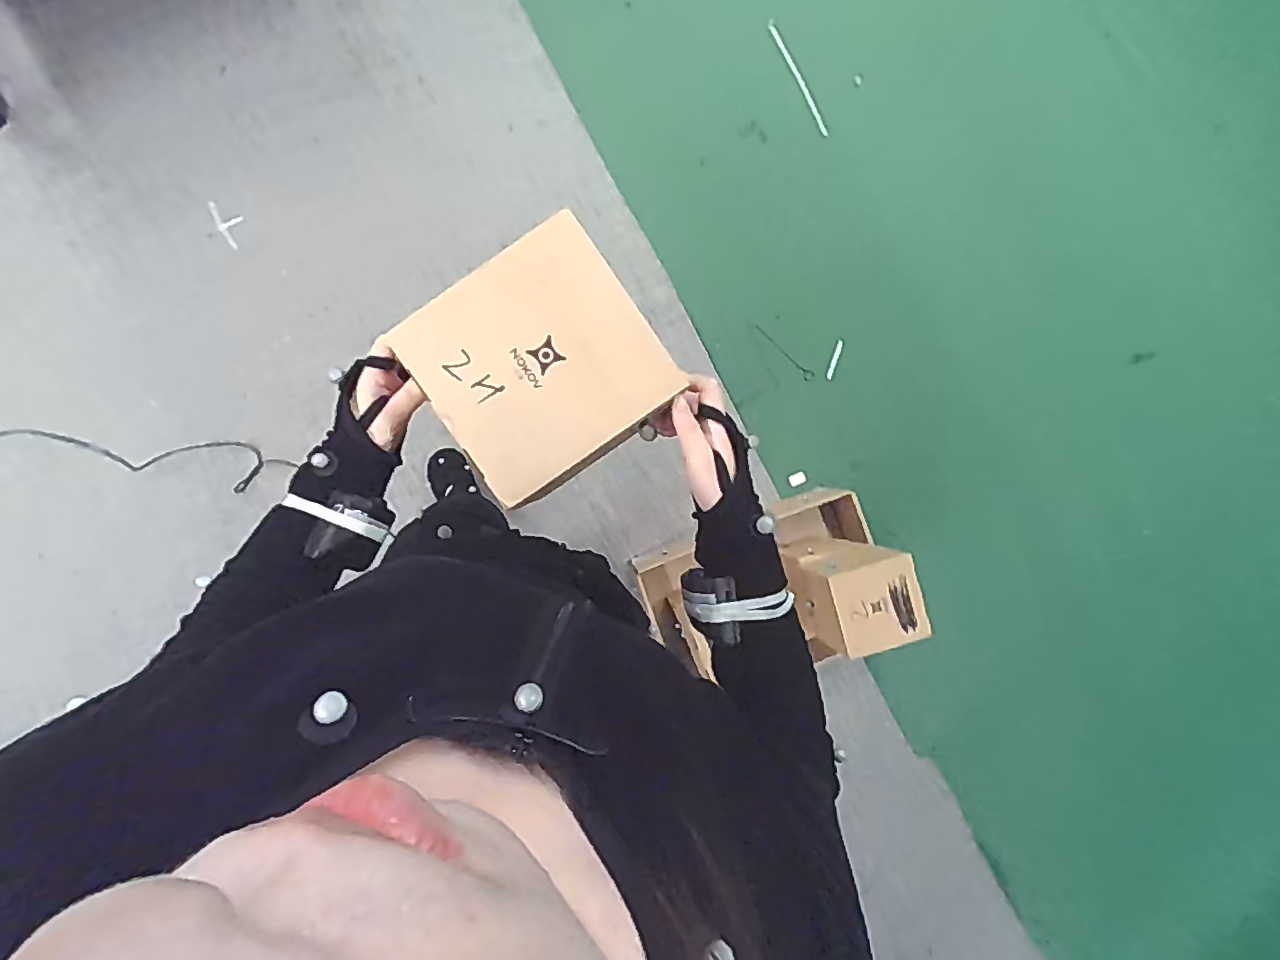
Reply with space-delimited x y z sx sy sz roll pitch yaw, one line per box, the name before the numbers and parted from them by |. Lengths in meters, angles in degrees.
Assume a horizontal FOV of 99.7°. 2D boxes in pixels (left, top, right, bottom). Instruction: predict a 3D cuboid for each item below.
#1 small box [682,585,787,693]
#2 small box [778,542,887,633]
small box | 0.205 0.356 1.243 0.179 0.176 0.168 -21 90 -7
small box | 0.446 0.244 1.273 0.179 0.176 0.168 -10 89 -3
